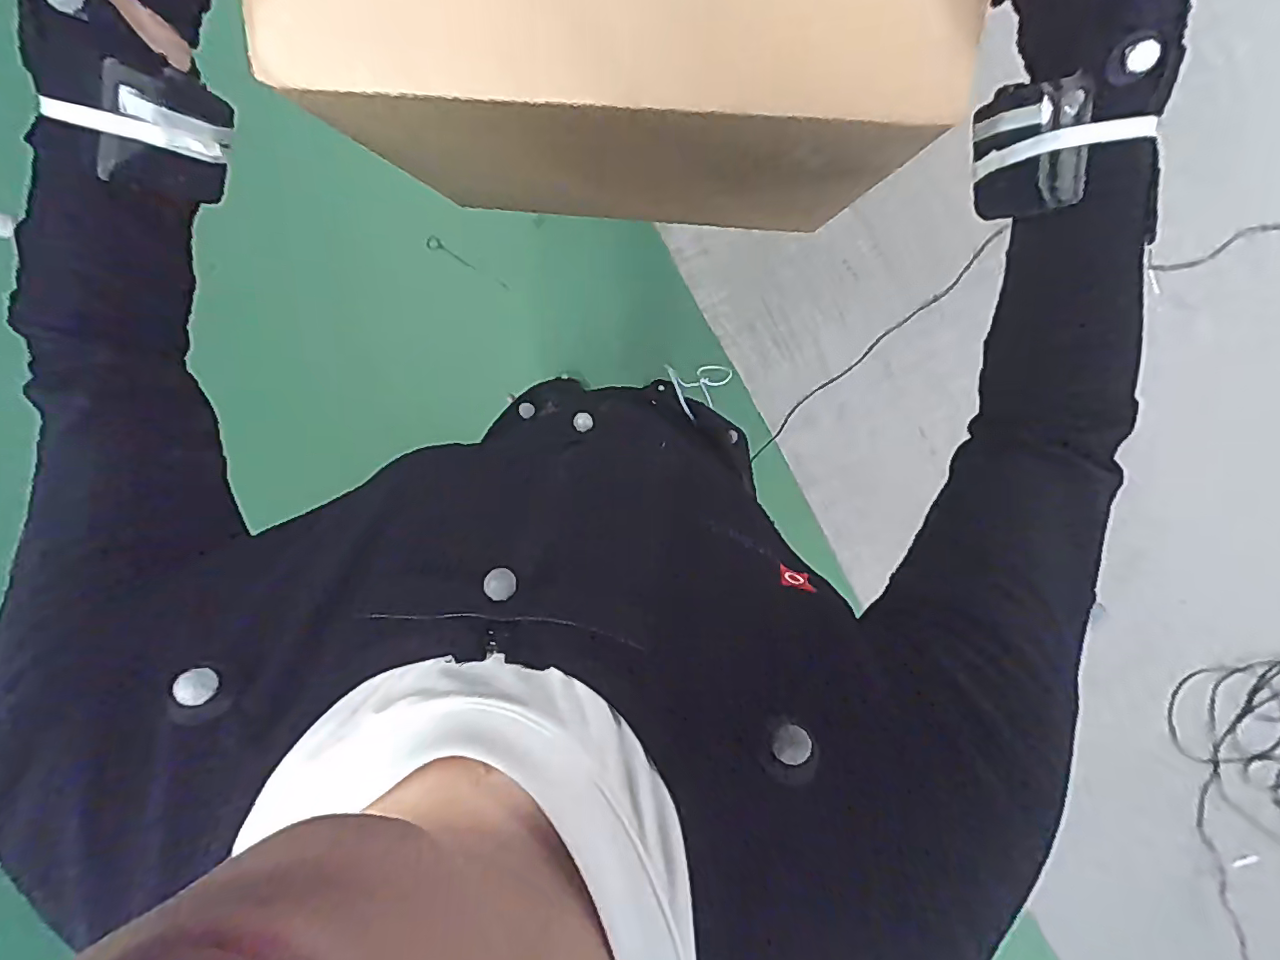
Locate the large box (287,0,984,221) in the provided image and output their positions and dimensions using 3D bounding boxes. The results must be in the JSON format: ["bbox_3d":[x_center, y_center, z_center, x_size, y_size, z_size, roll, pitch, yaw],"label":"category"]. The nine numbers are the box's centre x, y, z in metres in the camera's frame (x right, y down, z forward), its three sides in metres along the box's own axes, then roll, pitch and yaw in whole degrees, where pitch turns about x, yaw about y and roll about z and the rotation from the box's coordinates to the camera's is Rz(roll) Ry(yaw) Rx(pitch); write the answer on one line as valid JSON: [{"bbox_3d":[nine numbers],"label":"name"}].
[{"bbox_3d":[0.006,-0.409,0.424,0.408,0.320,0.320,5,106,2],"label":"large box"}]
